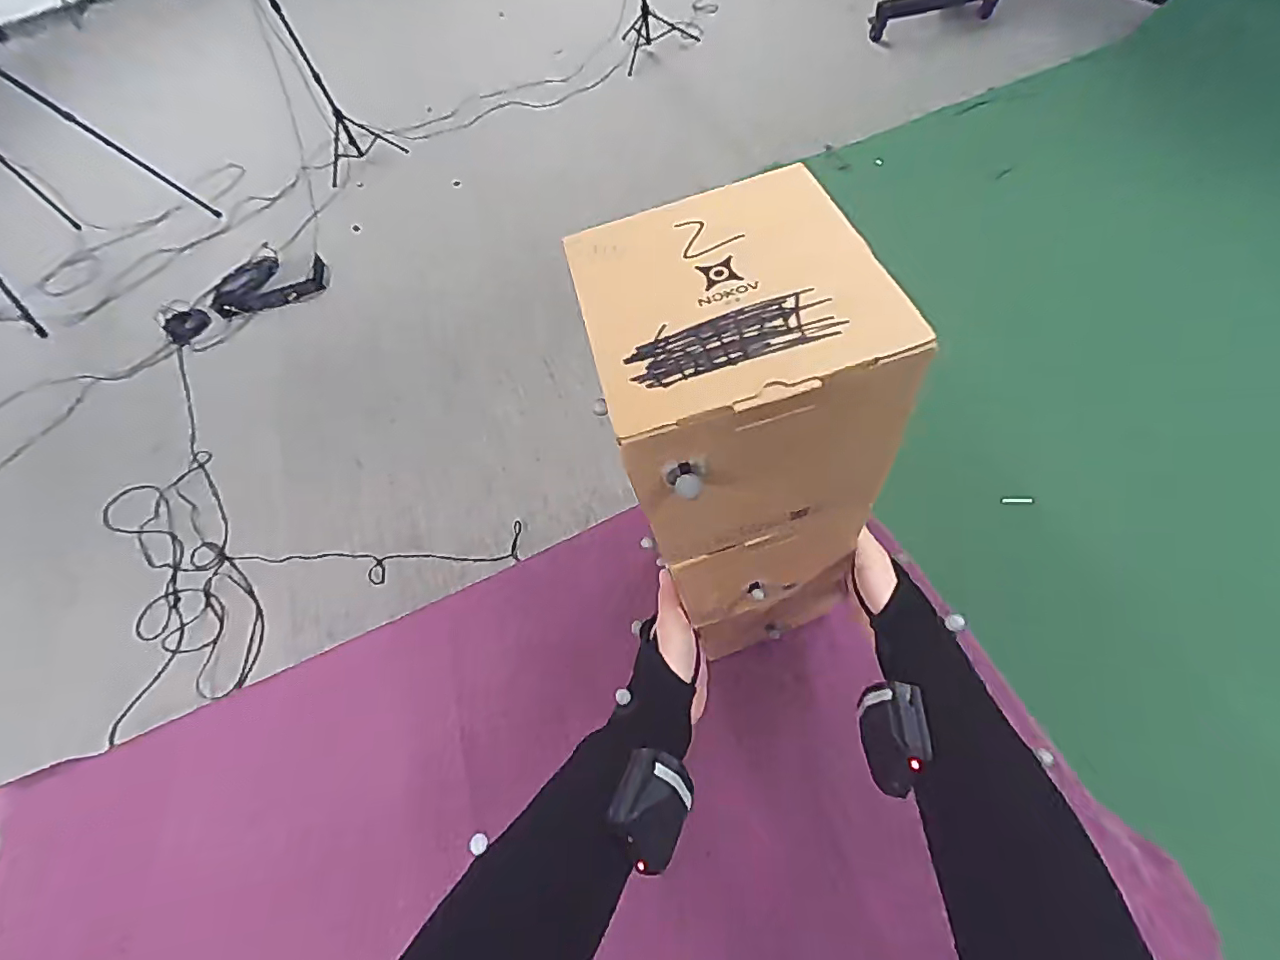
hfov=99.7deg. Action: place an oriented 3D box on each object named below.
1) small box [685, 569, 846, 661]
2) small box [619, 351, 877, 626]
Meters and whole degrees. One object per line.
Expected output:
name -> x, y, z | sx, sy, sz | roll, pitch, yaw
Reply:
small box -> 0.119, 0.094, 0.653 | 0.168, 0.176, 0.179 | -21, 59, -1
small box -> 0.090, 0.015, 0.515 | 0.168, 0.176, 0.179 | -19, 59, 0
